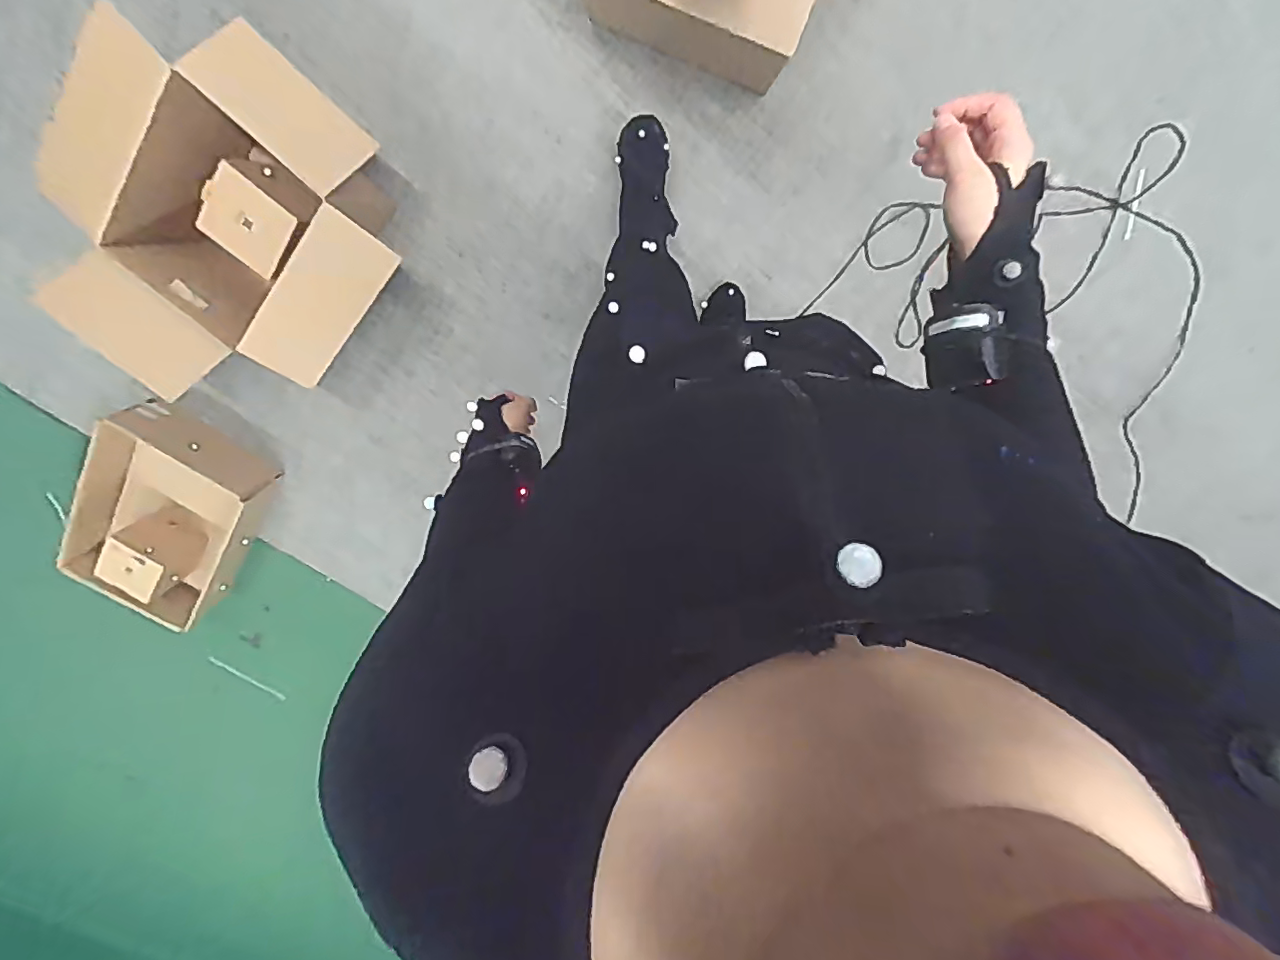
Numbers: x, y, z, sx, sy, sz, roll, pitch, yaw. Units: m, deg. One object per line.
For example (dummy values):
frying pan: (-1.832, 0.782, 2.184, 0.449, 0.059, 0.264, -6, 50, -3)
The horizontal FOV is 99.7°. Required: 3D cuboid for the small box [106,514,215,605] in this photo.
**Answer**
small box: (-1.454, 0.238, 1.648, 0.168, 0.176, 0.179, 37, 112, -11)
